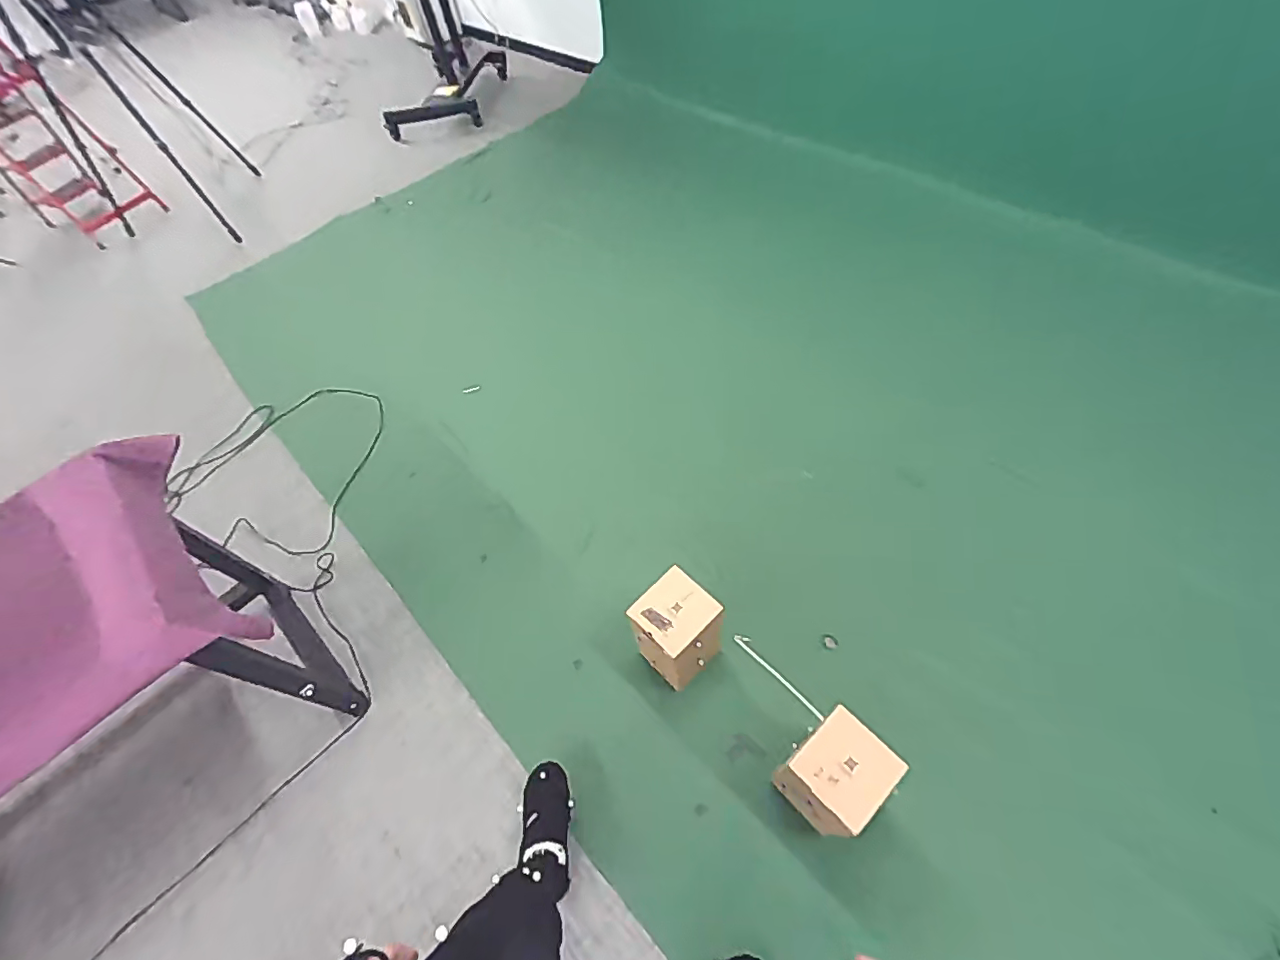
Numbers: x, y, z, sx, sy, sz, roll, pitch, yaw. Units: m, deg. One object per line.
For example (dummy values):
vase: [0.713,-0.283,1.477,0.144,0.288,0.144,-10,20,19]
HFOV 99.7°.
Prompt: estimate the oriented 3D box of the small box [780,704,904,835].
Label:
small box: [0.416,0.615,1.149,0.179,0.176,0.168,-39,61,-18]

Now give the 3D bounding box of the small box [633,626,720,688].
small box: [0.101,0.445,1.500,0.179,0.176,0.168,-40,61,-18]

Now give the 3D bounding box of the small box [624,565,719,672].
small box: [0.084,0.354,1.364,0.179,0.176,0.168,-40,61,-19]
